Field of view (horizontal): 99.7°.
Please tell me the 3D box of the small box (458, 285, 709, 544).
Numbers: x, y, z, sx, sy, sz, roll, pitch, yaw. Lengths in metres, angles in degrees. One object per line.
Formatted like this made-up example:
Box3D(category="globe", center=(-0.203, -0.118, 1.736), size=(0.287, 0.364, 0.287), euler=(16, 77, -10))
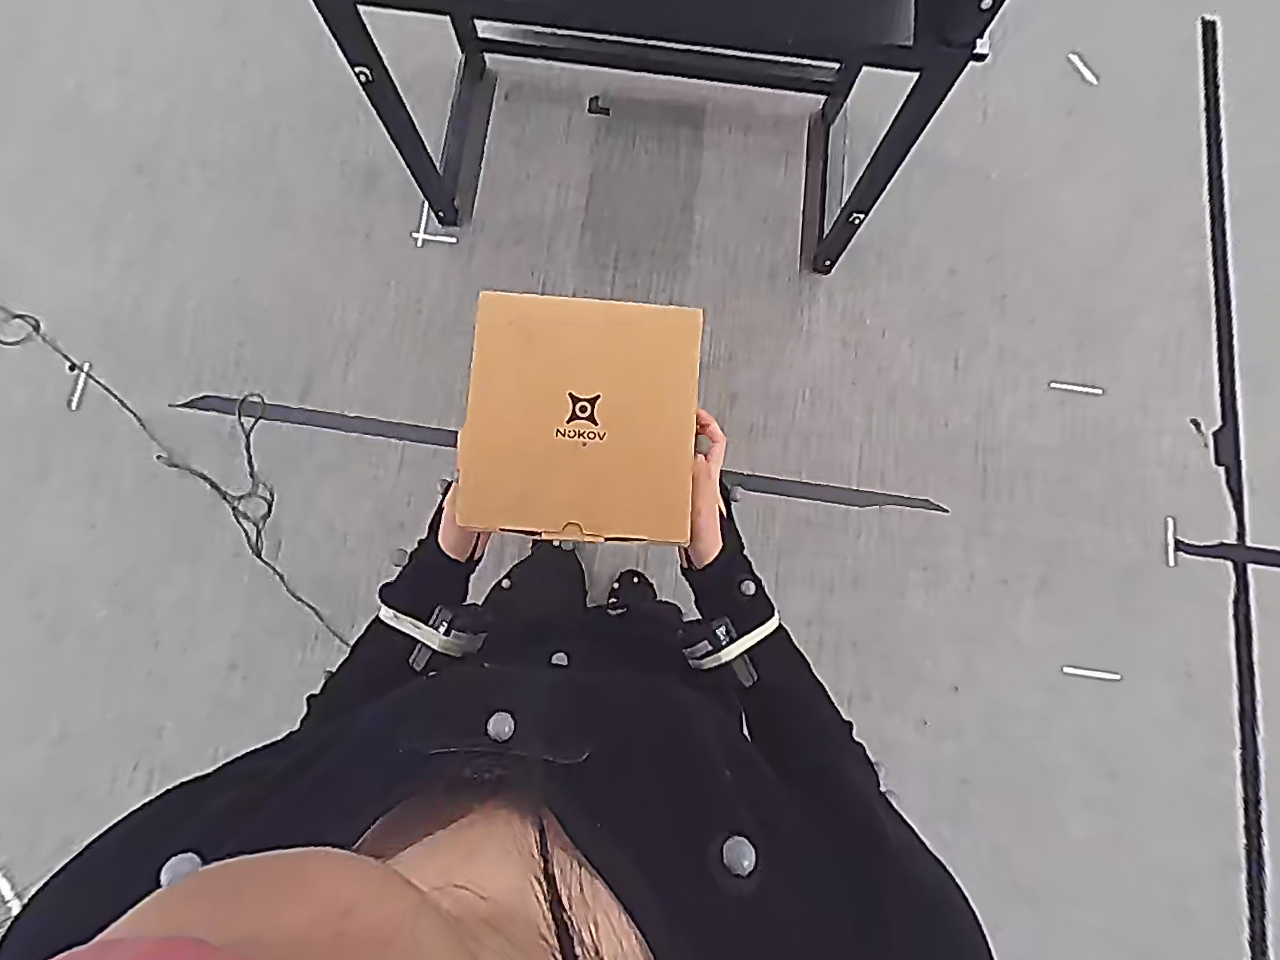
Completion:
Box3D(category="small box", center=(-0.041, -0.039, 0.460), size=(0.168, 0.176, 0.179), euler=(4, 85, -2))
